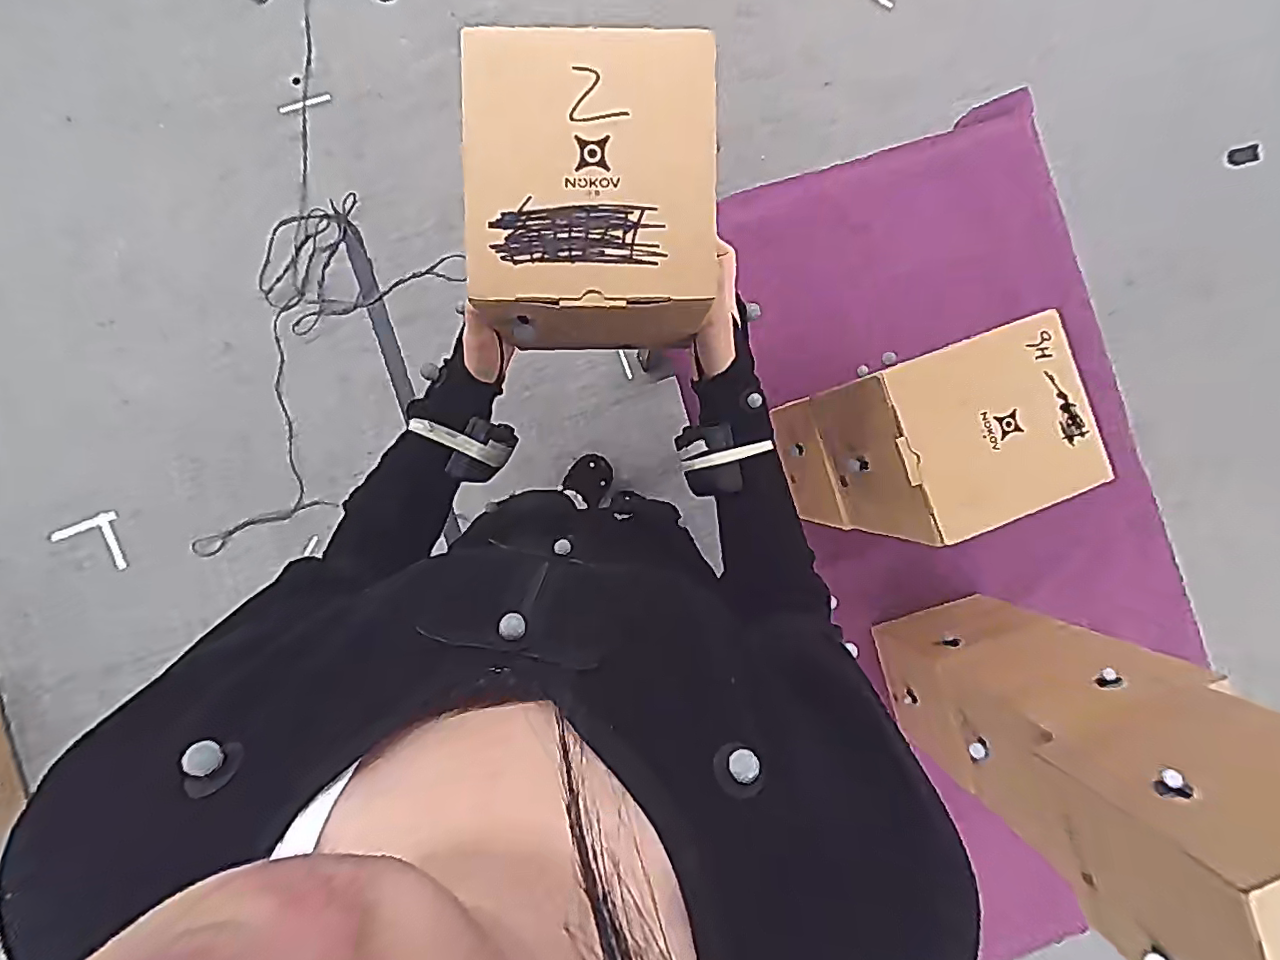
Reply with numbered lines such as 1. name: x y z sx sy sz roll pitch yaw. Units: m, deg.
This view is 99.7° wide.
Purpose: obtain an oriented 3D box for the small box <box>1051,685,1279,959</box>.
1. small box: 0.456 0.284 0.404 0.179 0.176 0.168 -19 92 -3

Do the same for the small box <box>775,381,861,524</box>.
1. small box: 0.295 -0.047 0.721 0.179 0.176 0.168 -18 92 -4

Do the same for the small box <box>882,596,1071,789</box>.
1. small box: 0.453 0.272 0.731 0.179 0.176 0.168 -16 92 -4

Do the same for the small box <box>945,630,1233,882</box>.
1. small box: 0.467 0.275 0.567 0.179 0.176 0.168 -16 91 -3

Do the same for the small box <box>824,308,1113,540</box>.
1. small box: 0.312 -0.049 0.558 0.179 0.176 0.168 -21 92 -3
